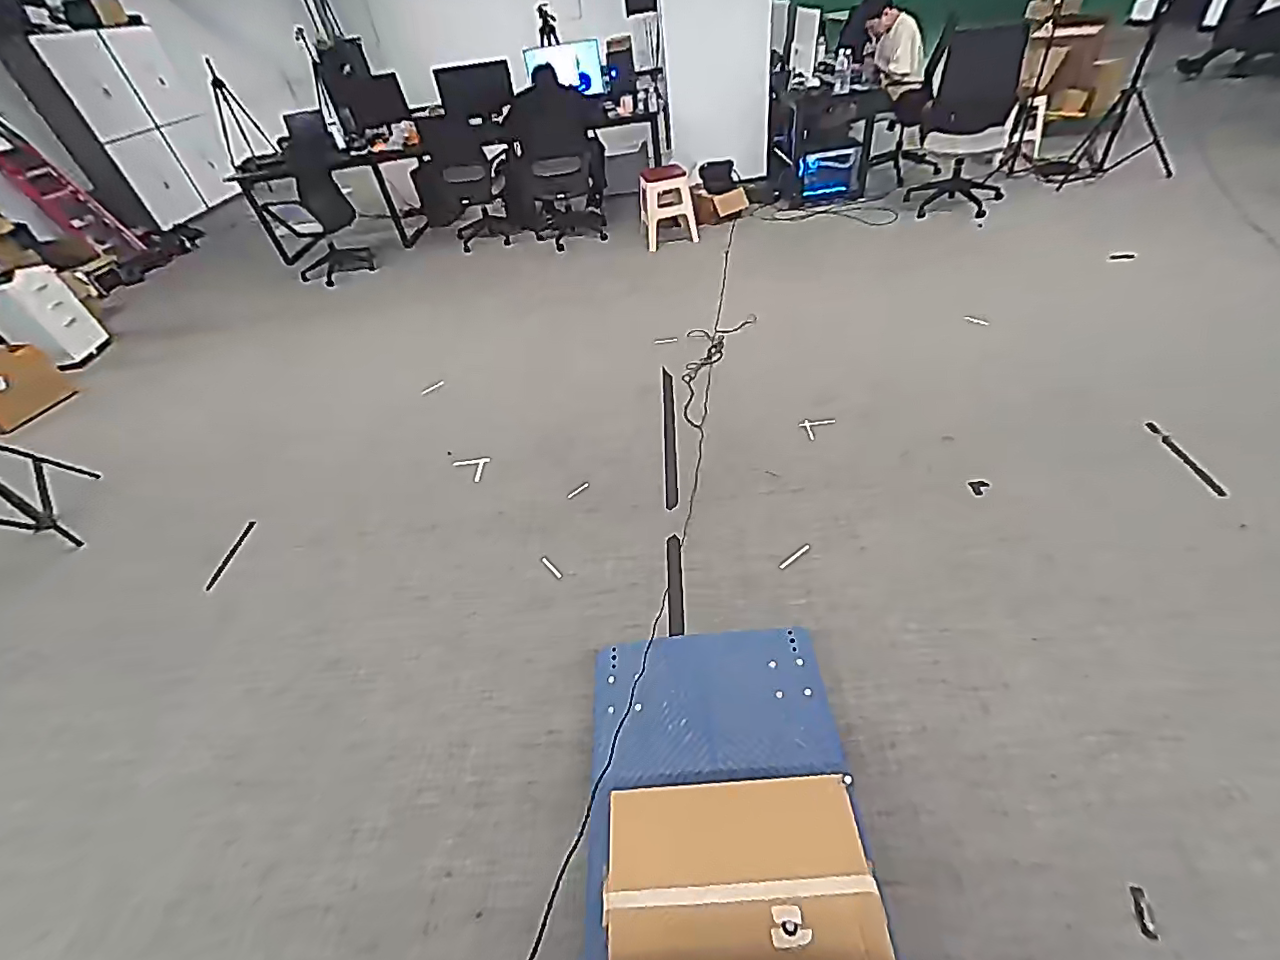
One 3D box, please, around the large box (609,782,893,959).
[{"bbox_3d":[0.168,0.747,0.907,0.408,0.320,0.320,-7,42,4],"label":"large box"}]
